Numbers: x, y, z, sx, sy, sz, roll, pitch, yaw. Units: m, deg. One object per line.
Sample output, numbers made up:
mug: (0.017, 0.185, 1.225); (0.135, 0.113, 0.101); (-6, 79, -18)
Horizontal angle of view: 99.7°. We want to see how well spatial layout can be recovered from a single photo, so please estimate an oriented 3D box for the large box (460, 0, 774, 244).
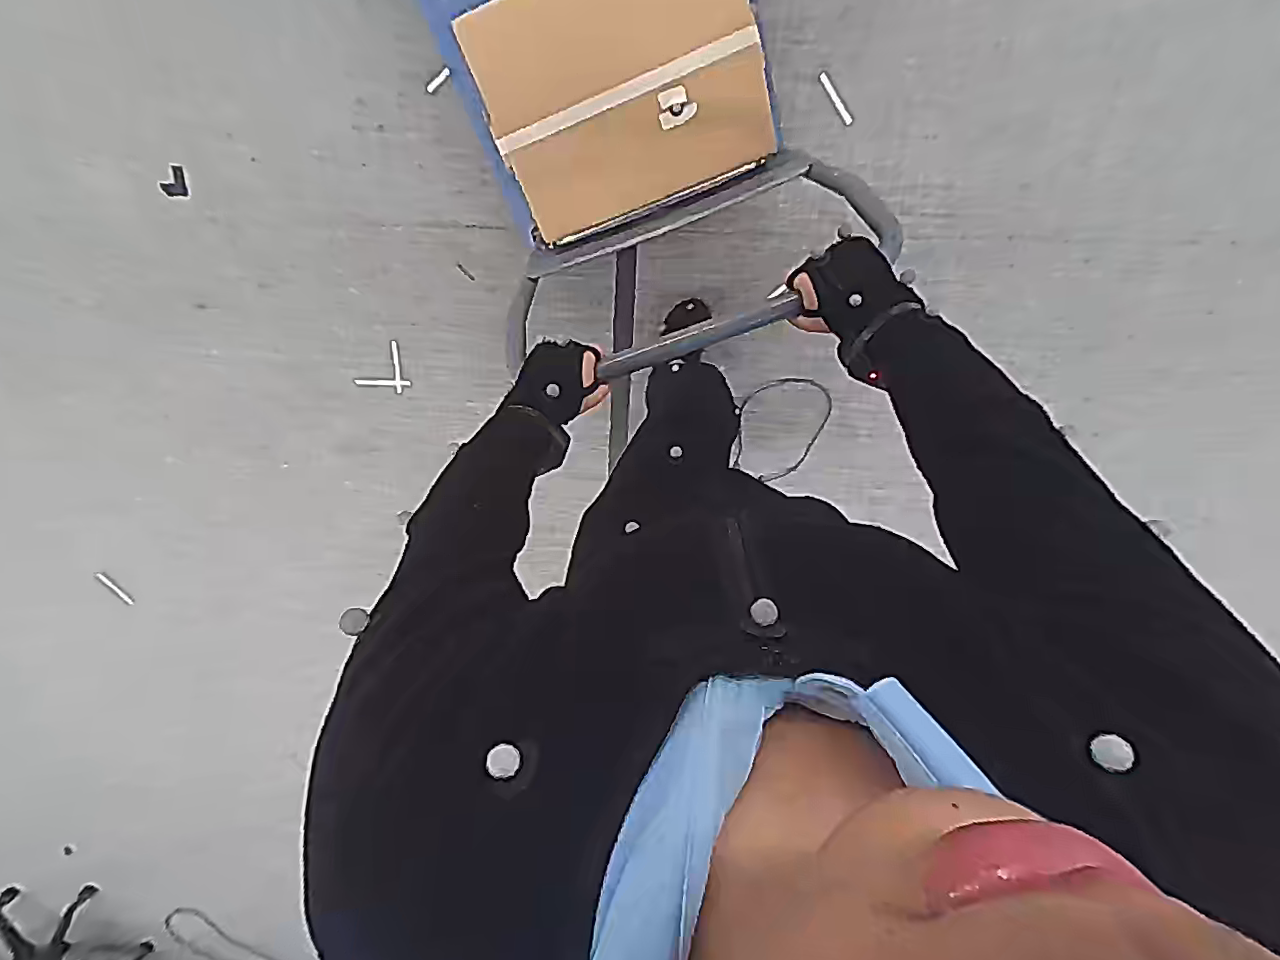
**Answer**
large box: (-0.031, -0.666, 0.940); (0.408, 0.320, 0.320); (-19, 124, 9)
